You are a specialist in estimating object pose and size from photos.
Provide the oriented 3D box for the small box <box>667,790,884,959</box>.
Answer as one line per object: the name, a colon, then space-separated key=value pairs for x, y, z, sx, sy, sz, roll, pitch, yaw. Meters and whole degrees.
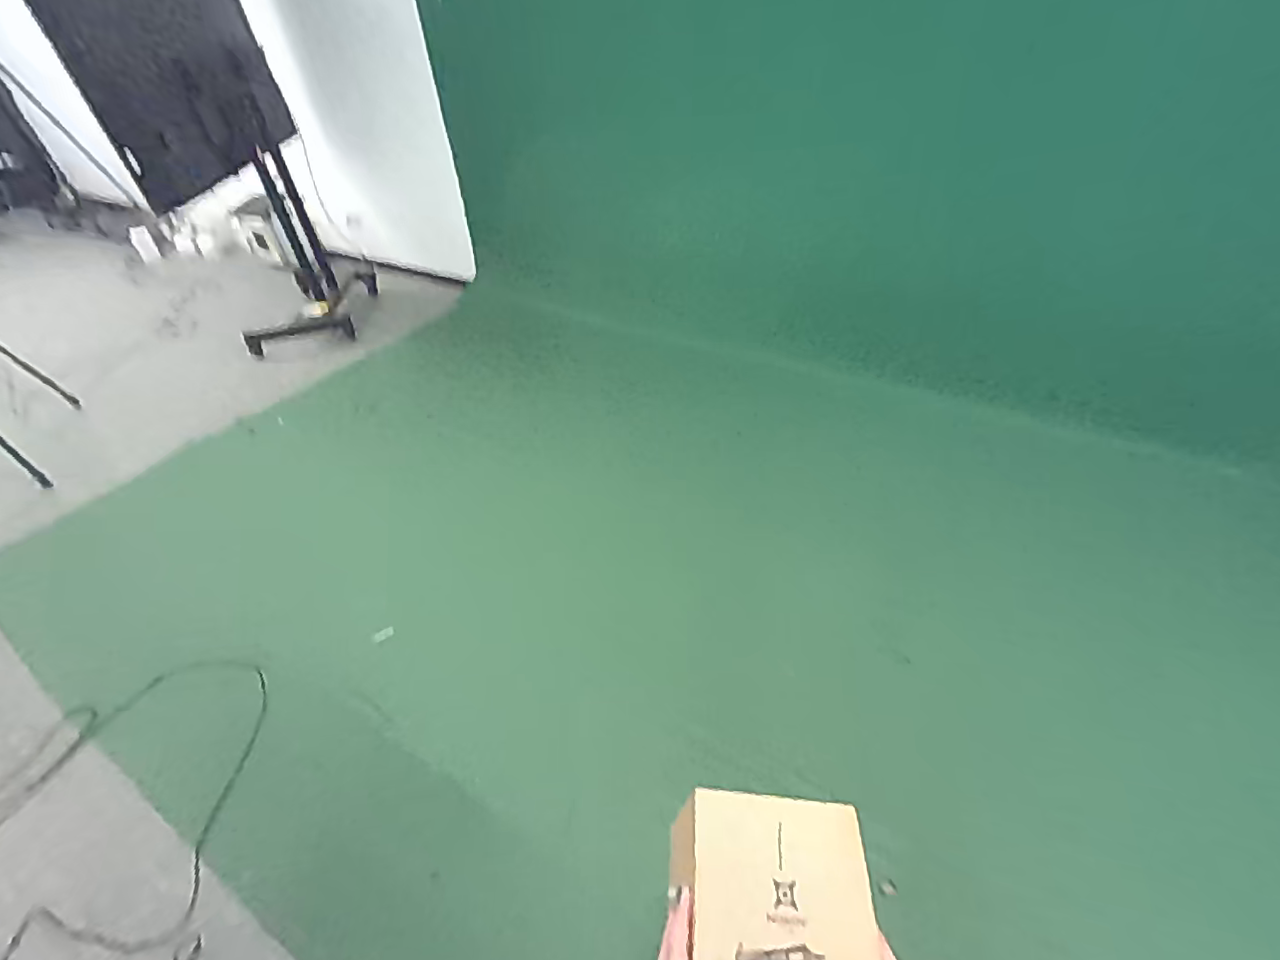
small box: x=0.120 y=0.433 z=0.531 sx=0.168 sy=0.176 sz=0.179 roll=7 pitch=45 yaw=-1
